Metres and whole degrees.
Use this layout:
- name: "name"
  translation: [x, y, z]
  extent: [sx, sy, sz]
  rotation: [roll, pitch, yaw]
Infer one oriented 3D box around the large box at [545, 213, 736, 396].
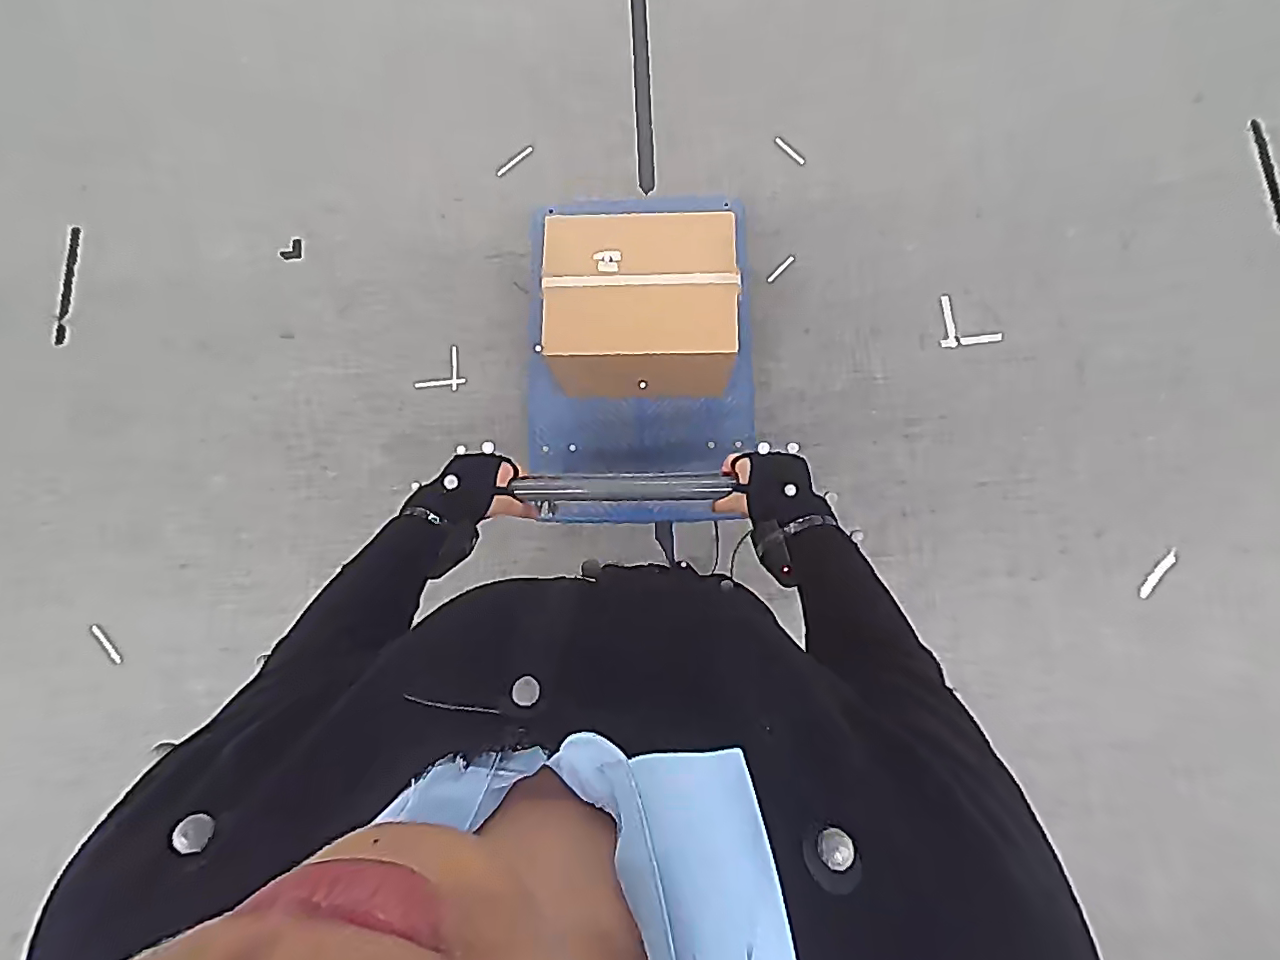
- name: "large box"
  translation: [0.007, -0.394, 1.289]
  extent: [0.408, 0.320, 0.320]
  rotation: [-1, 81, 3]
